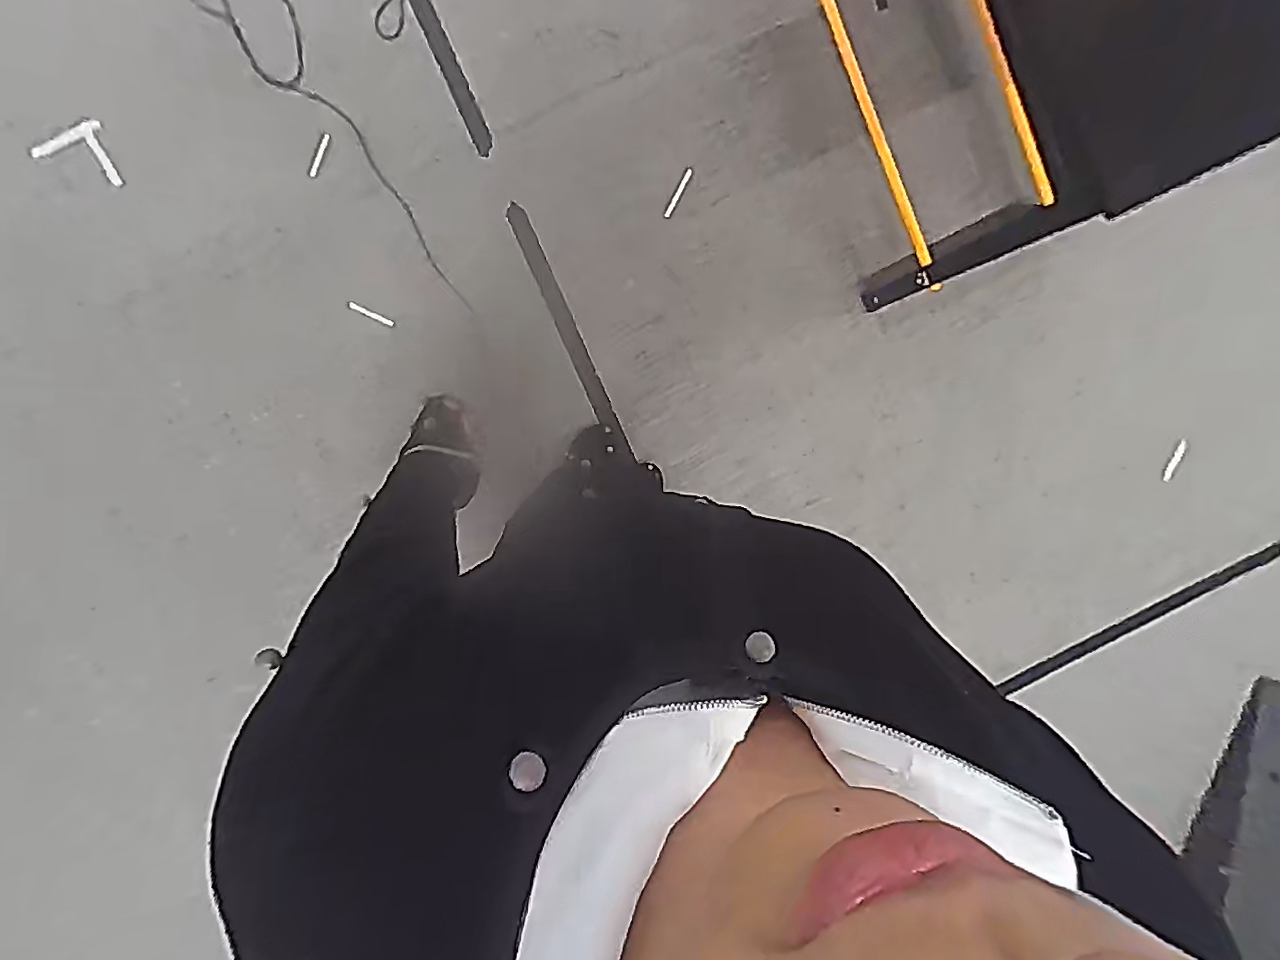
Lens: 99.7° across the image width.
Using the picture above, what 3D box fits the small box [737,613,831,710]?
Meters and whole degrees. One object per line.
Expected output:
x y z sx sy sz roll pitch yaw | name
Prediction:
0.391 0.491 1.493 0.179 0.176 0.168 -22 97 -2 | small box
